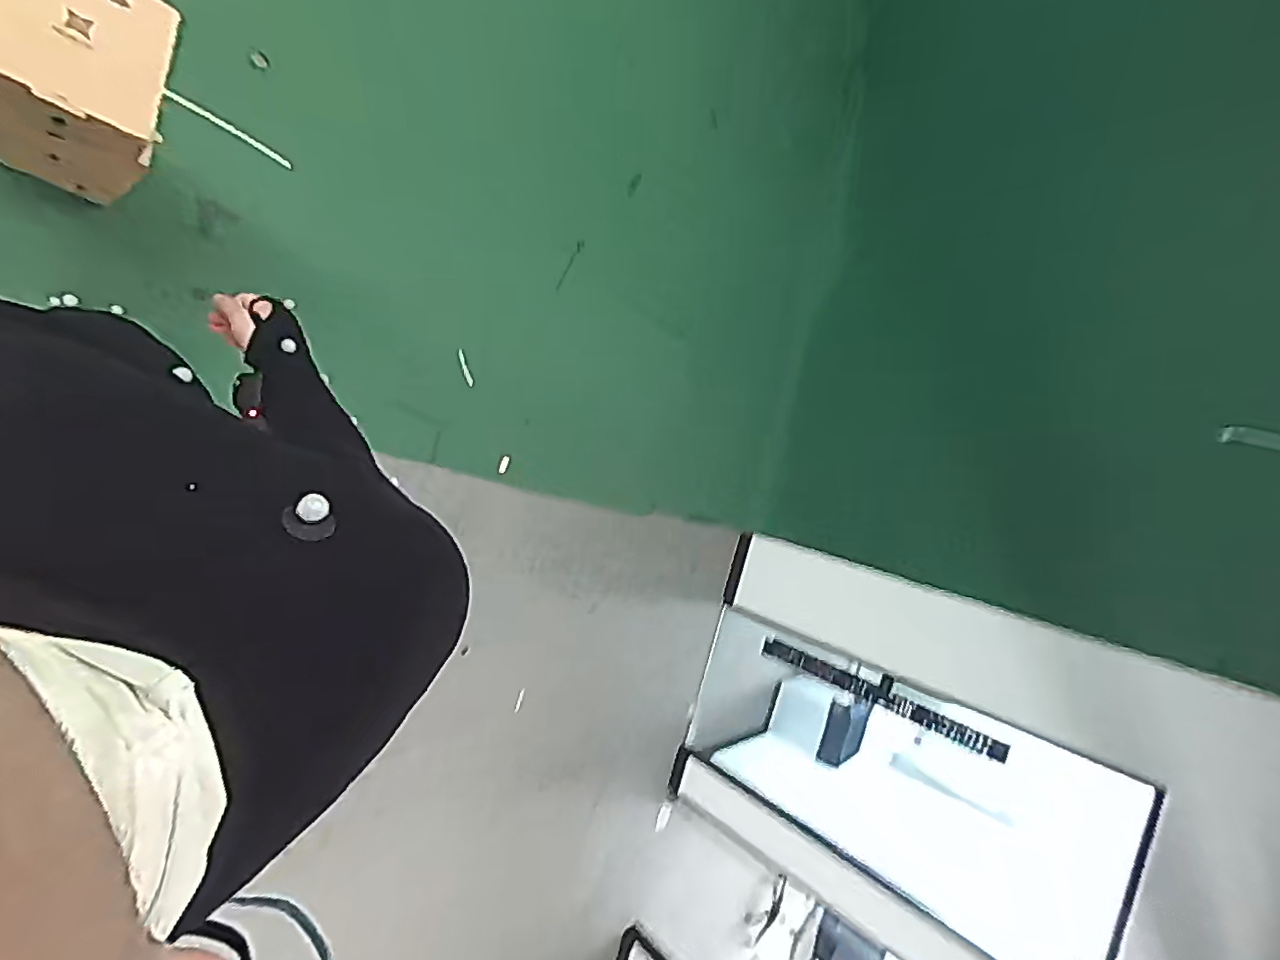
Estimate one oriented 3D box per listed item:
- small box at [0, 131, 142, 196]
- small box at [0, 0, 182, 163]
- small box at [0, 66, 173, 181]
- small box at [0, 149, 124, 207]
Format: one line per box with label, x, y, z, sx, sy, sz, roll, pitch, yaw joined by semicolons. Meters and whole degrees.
small box;-0.953;-0.605;0.913;0.179;0.176;0.168;14;92;-48
small box;-0.720;-0.541;0.690;0.168;0.176;0.179;14;92;-49
small box;-0.835;-0.573;0.803;0.179;0.176;0.168;11;94;-49
small box;-1.076;-0.638;1.014;0.179;0.176;0.168;18;88;-49
